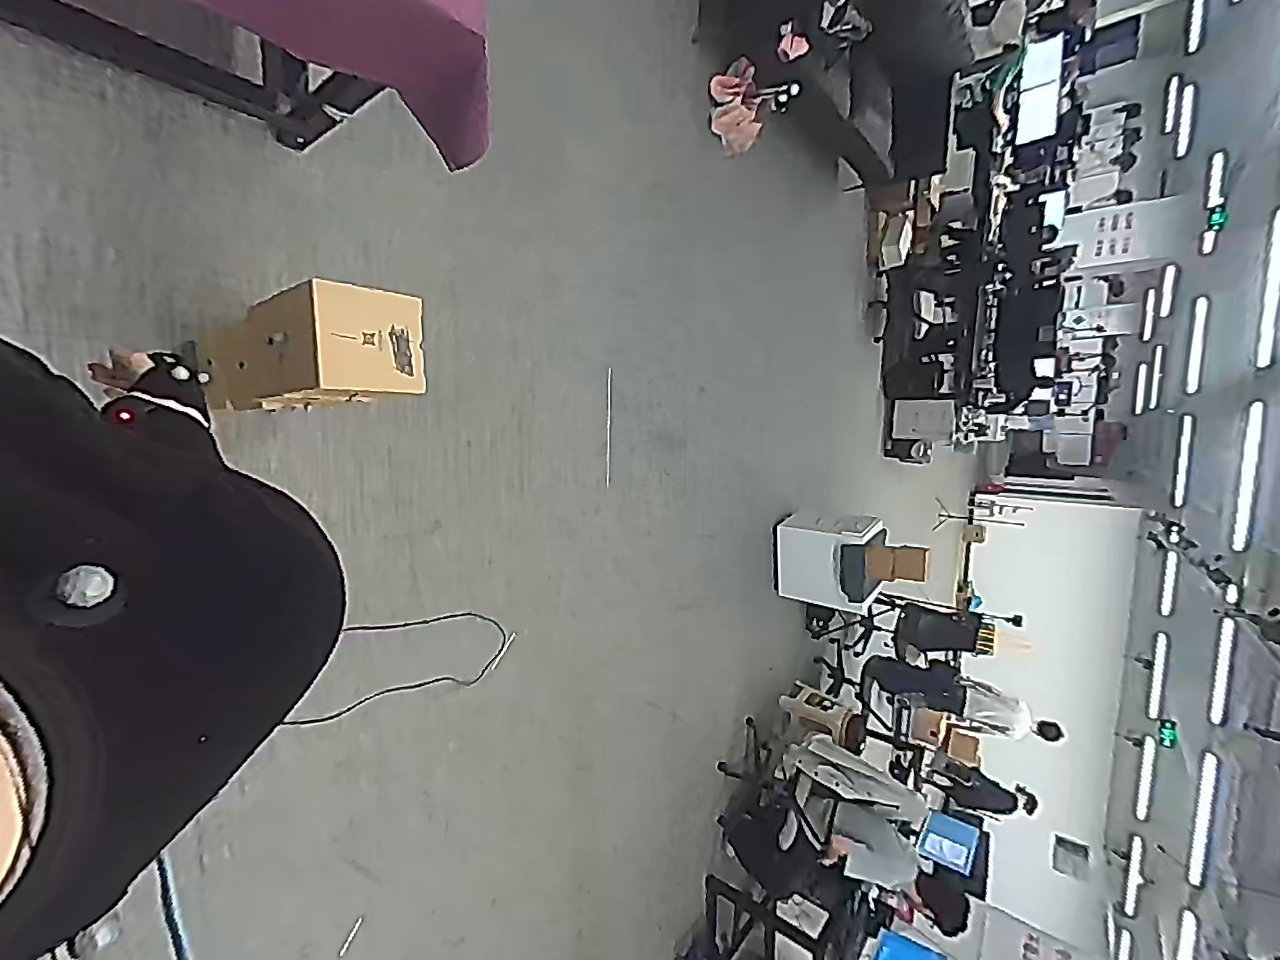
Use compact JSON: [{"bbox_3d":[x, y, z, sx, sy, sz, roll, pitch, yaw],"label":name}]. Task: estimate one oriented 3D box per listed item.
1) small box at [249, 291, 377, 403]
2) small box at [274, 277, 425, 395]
[{"bbox_3d":[-0.623,-0.242,1.030,0.168,0.176,0.179,-5,97,-51],"label":"small box"},{"bbox_3d":[-0.496,-0.234,0.927,0.179,0.176,0.168,-8,99,-50],"label":"small box"}]
